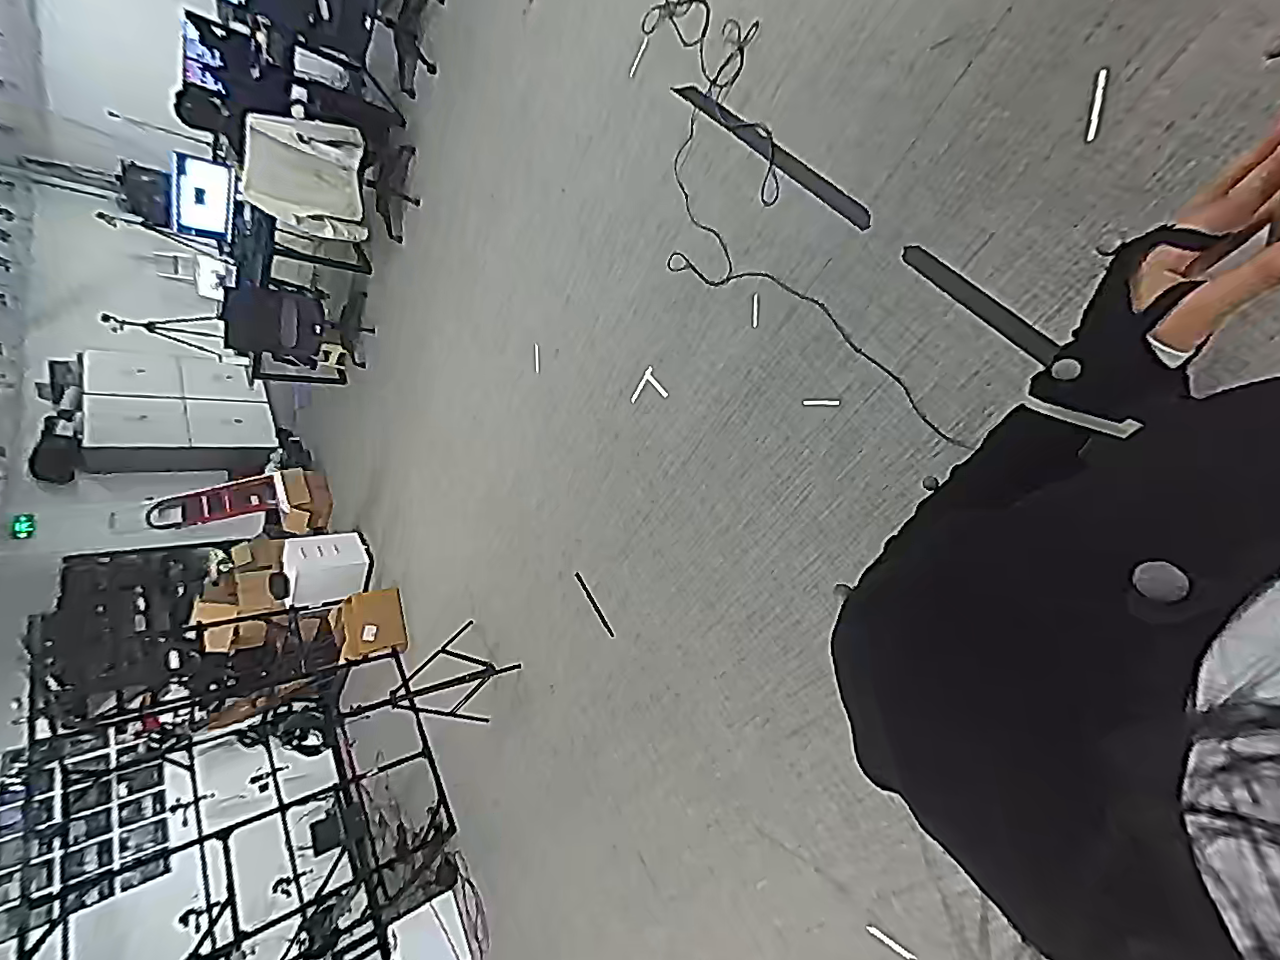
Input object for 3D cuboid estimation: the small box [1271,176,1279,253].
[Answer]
[{"bbox_3d":[0.425,-0.208,0.235,0.179,0.176,0.168,6,101,42],"label":"small box"}]
